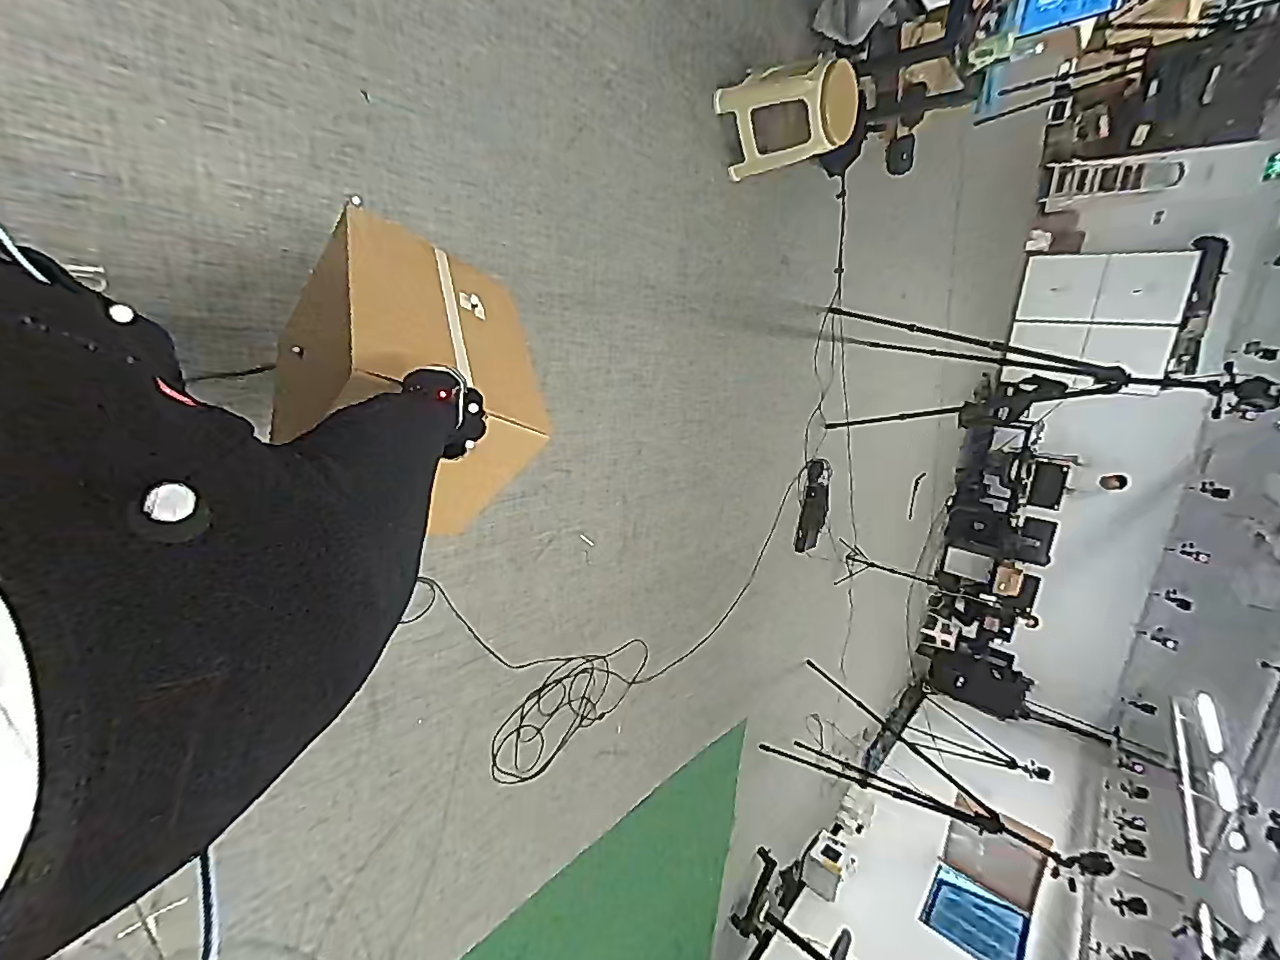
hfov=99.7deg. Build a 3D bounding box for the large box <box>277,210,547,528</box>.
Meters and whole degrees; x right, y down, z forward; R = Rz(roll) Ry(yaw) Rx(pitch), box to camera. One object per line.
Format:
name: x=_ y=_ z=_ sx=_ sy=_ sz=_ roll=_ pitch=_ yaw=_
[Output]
large box: x=-0.417 y=-0.172 z=0.959 sx=0.320 sy=0.408 sz=0.320 roll=18 pitch=130 yaw=-45
